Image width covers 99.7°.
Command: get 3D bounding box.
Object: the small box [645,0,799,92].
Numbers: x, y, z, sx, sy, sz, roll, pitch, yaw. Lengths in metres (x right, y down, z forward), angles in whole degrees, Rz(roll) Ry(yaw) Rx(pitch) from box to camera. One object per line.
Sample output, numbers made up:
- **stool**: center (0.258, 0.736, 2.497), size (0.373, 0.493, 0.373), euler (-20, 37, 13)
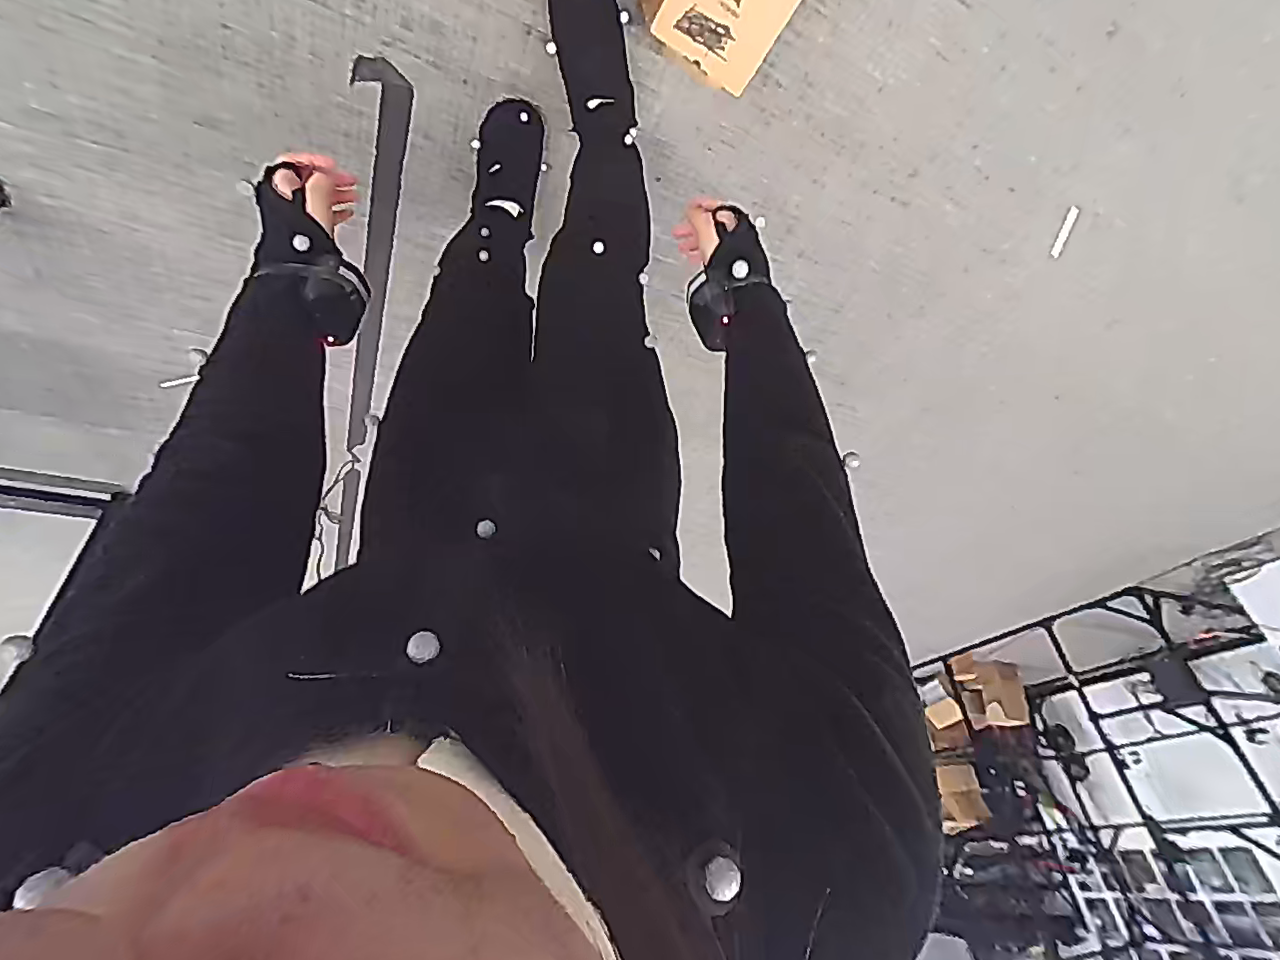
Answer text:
- **small box**: center (0.117, -0.714, 0.765), size (0.168, 0.176, 0.179), euler (16, 140, -29)
